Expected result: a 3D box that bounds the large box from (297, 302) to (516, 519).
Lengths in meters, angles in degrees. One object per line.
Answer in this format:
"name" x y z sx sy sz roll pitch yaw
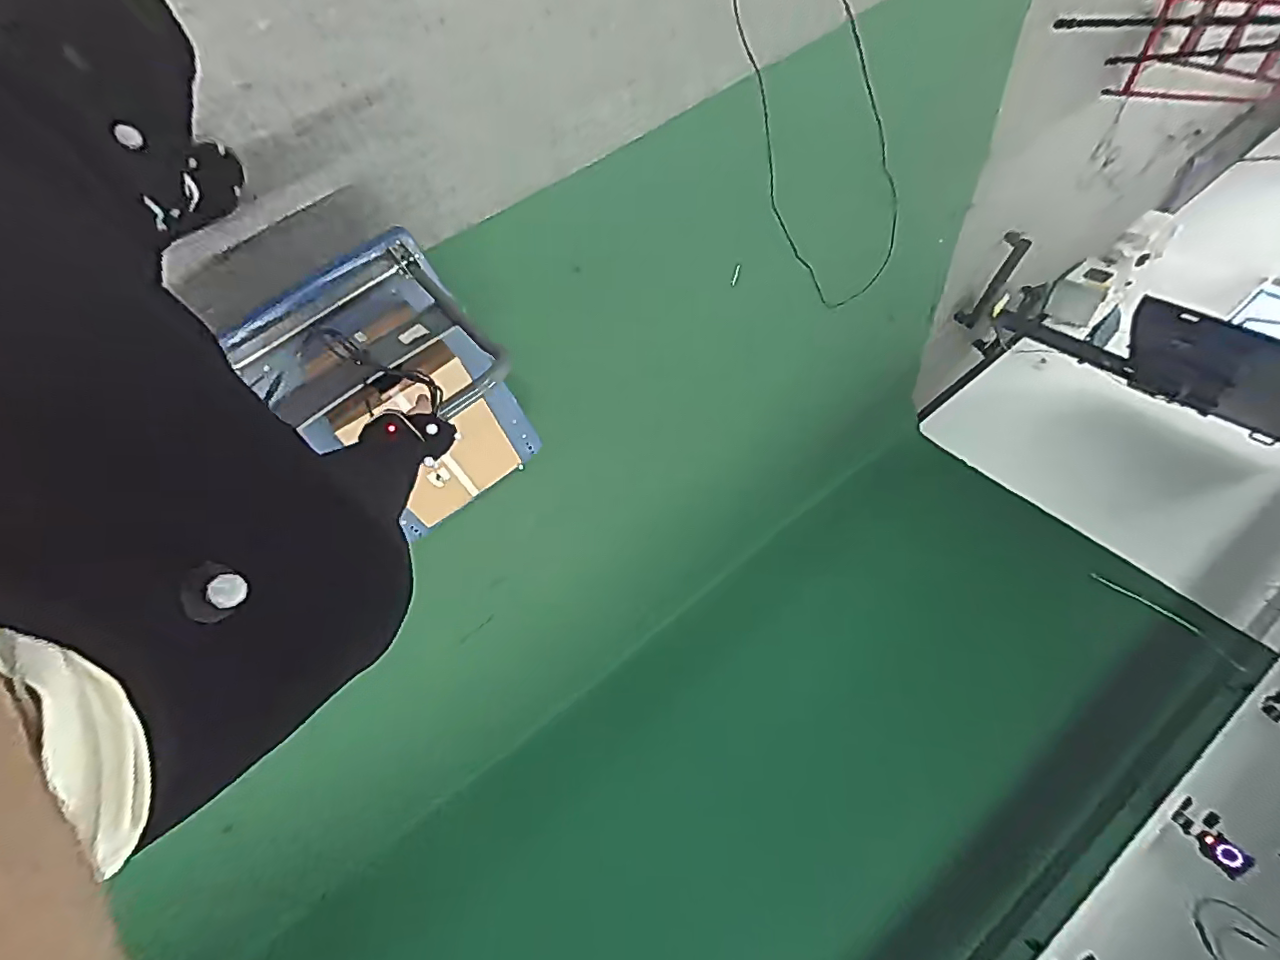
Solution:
"large box" -0.597 -0.178 1.425 0.320 0.320 0.408 -36 145 -13
